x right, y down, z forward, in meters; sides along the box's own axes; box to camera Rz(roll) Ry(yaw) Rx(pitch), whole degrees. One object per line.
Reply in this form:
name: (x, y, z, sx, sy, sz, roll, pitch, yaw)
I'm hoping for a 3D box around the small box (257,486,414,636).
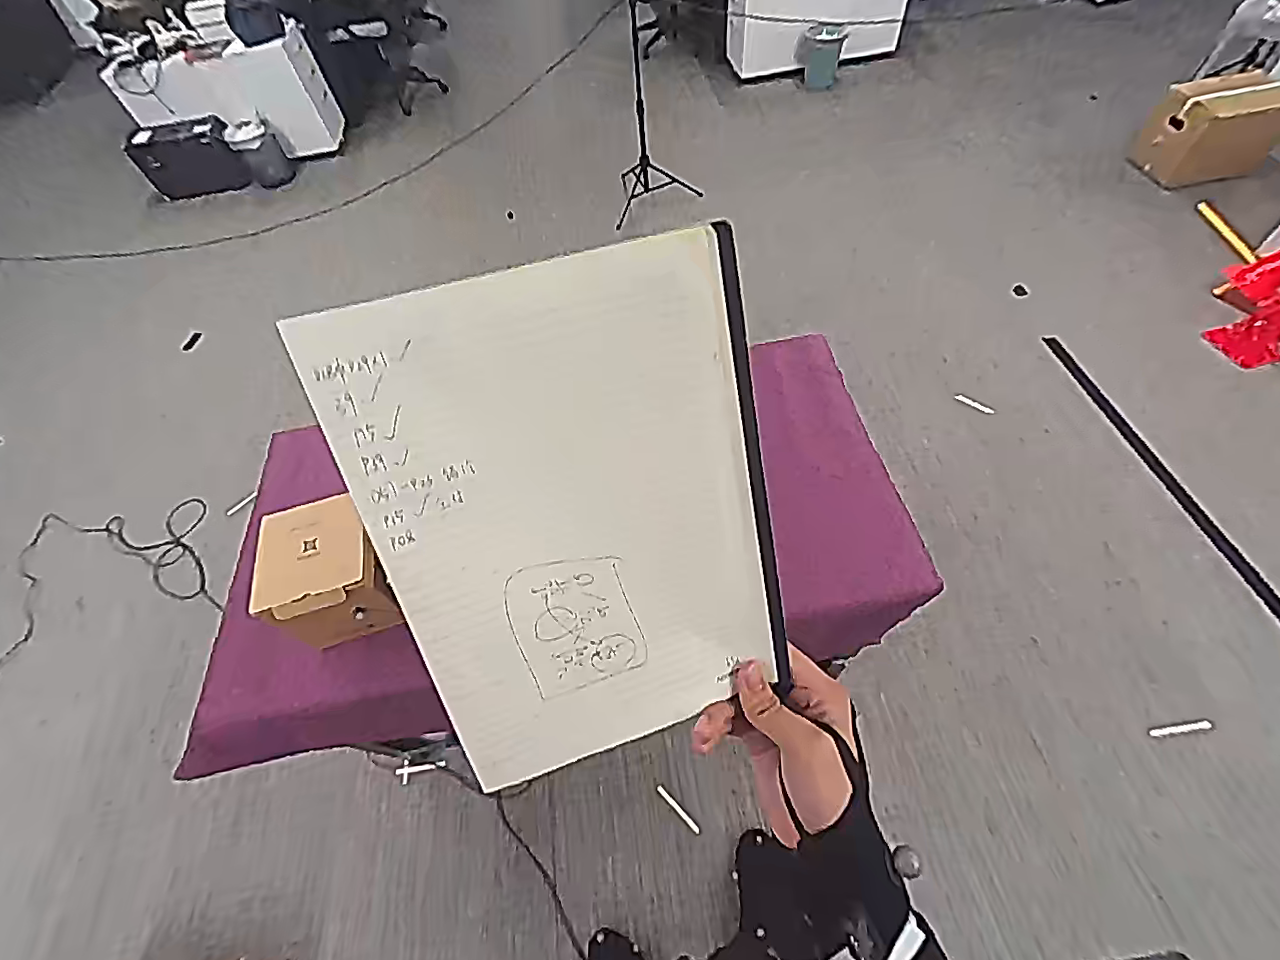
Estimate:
small box: (-0.490, 0.143, 0.895, 0.168, 0.176, 0.179, -16, 56, -5)
